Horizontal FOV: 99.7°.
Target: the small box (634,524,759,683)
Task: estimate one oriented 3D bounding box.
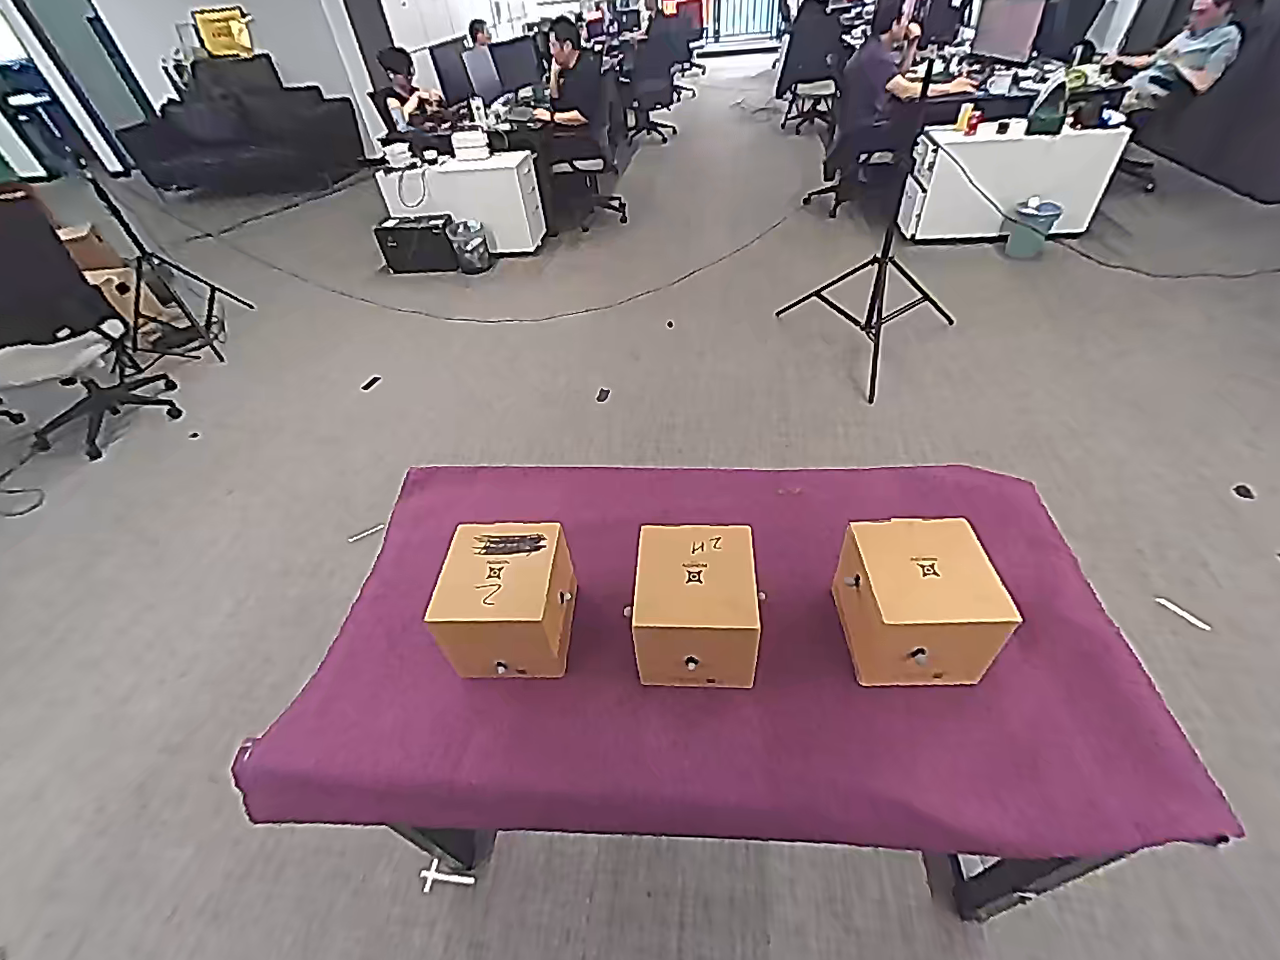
[{"bbox_3d":[0.086,0.185,0.809,0.168,0.176,0.179,0,44,6],"label":"small box"}]

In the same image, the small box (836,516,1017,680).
[{"bbox_3d":[0.395,0.174,0.783,0.168,0.176,0.179,-3,42,5],"label":"small box"}]
